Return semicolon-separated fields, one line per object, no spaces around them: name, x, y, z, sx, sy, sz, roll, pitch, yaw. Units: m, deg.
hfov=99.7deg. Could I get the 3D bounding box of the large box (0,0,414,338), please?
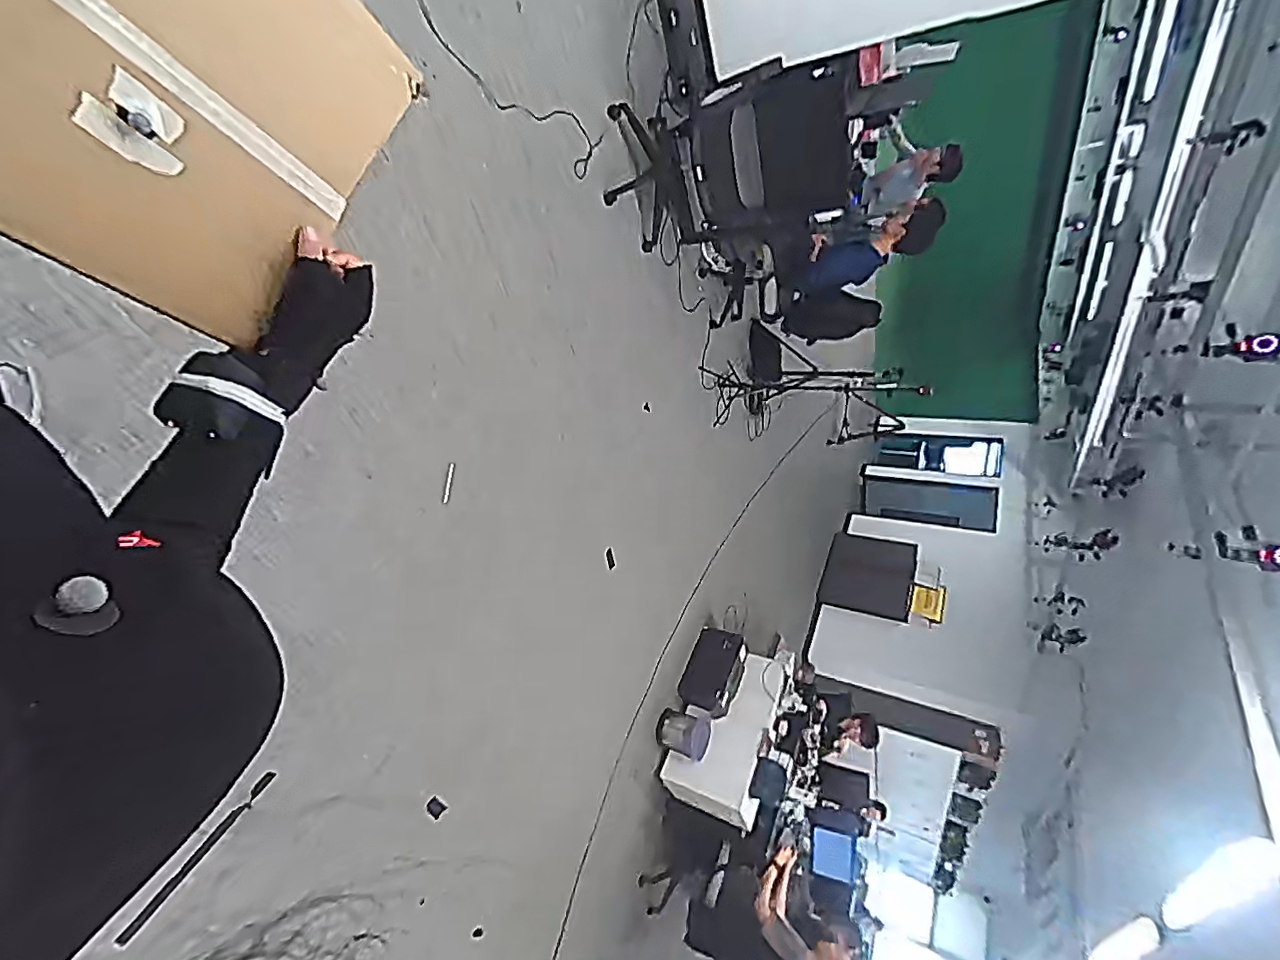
large box;-0.490;-0.373;0.427;0.320;0.320;0.408;-62;147;-5
